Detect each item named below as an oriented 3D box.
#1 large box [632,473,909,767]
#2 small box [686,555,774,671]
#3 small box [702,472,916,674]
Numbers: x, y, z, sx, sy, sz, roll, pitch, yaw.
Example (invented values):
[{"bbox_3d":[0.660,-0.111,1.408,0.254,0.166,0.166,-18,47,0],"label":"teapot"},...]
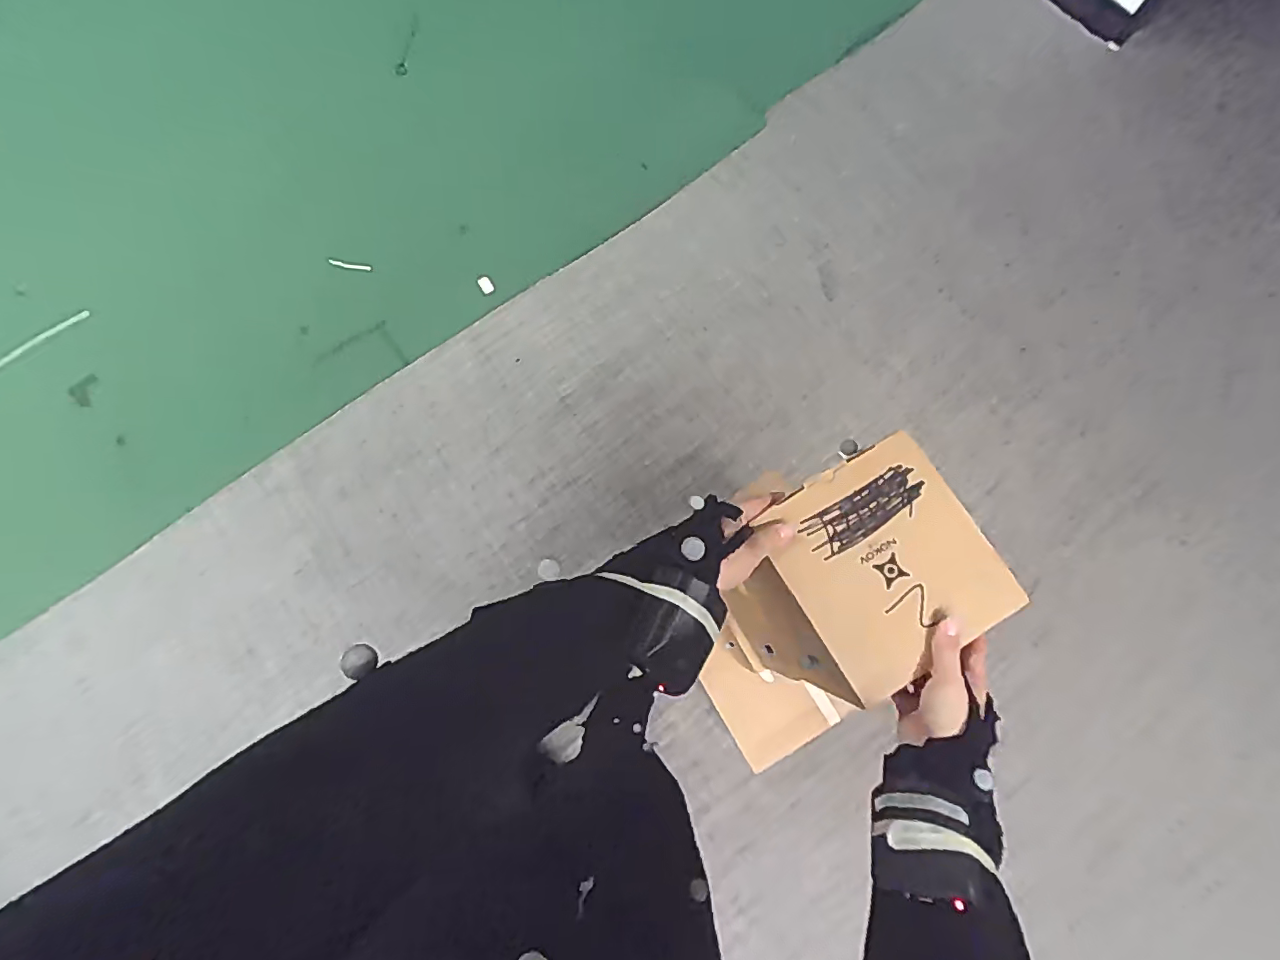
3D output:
[{"bbox_3d":[0.216,0.255,1.065,0.320,0.320,0.408,-31,79,-5],"label":"large box"},{"bbox_3d":[0.186,0.169,0.838,0.168,0.176,0.179,-29,77,-7],"label":"small box"},{"bbox_3d":[0.194,0.119,0.683,0.168,0.176,0.179,-30,79,-7],"label":"small box"}]
